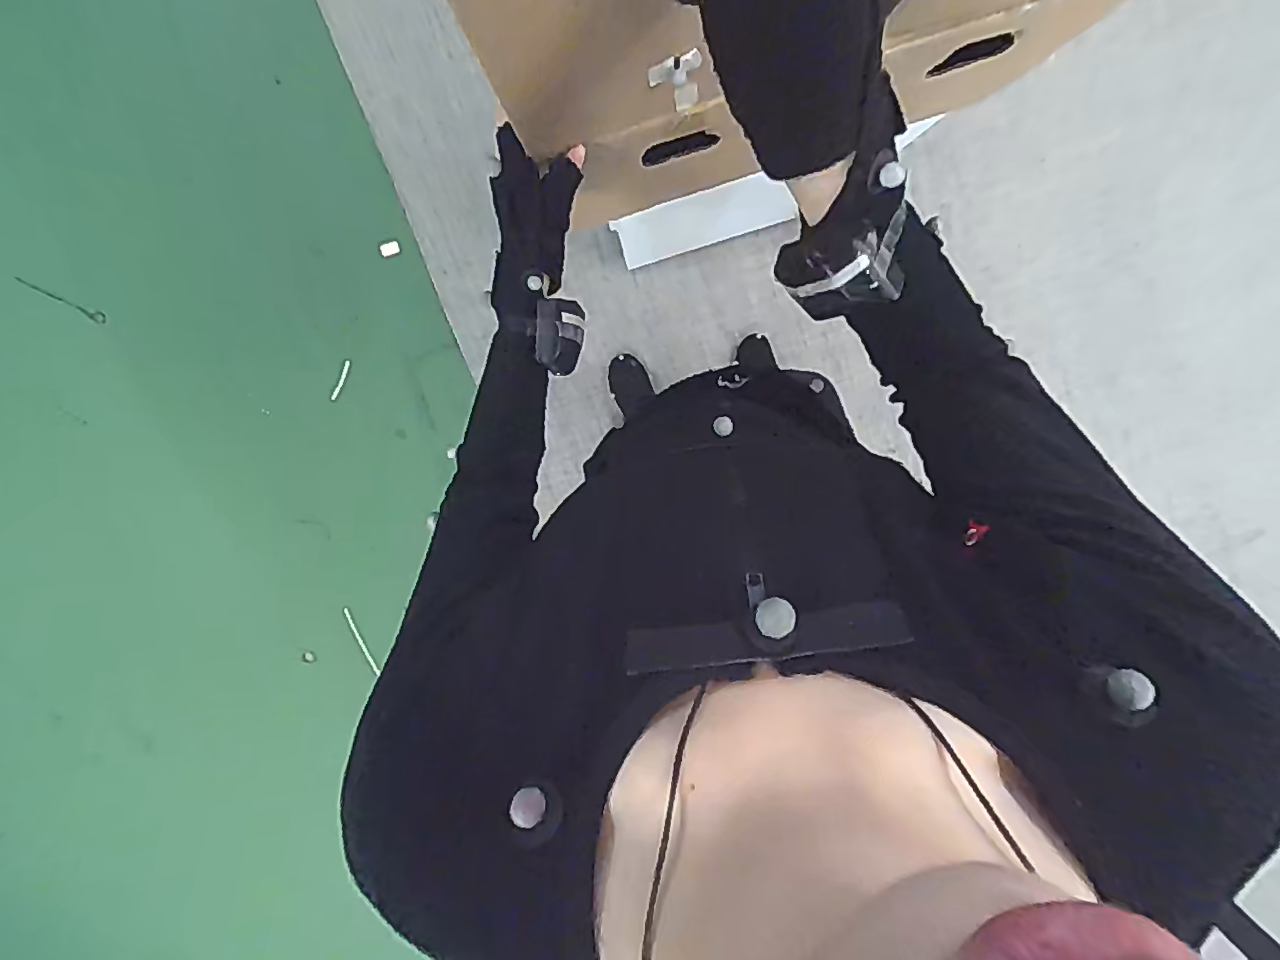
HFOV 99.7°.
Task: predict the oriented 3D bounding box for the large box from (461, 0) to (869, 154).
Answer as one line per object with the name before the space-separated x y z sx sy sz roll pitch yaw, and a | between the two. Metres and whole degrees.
large box | -0.020 -0.500 0.311 0.320 0.320 0.408 -19 101 3
